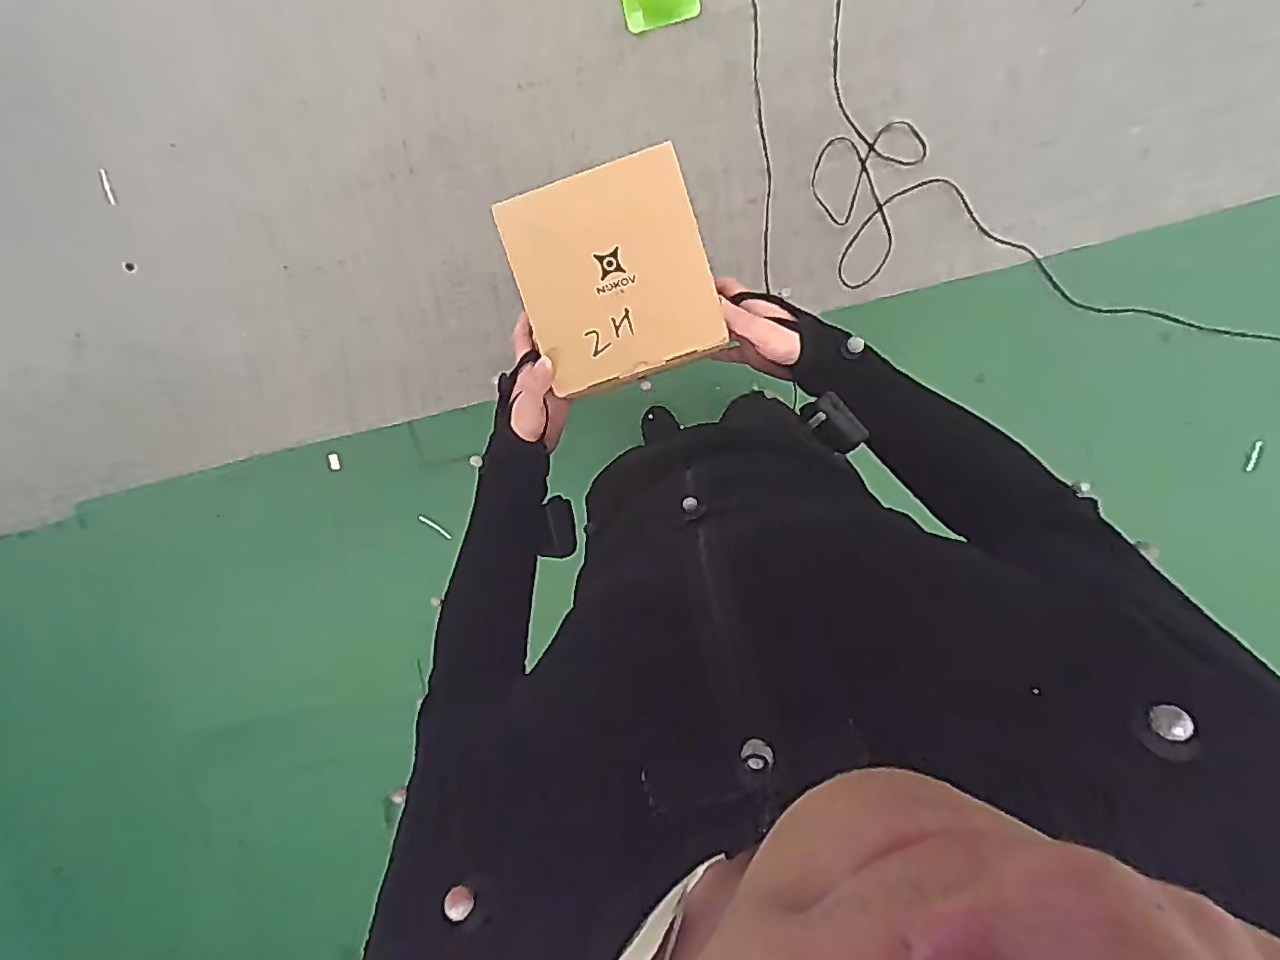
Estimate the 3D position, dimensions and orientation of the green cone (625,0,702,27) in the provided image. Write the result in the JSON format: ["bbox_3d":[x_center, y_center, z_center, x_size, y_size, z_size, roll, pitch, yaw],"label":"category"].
[{"bbox_3d":[0.044,-1.301,1.267,0.202,0.368,0.200,-12,98,4],"label":"green cone"}]
